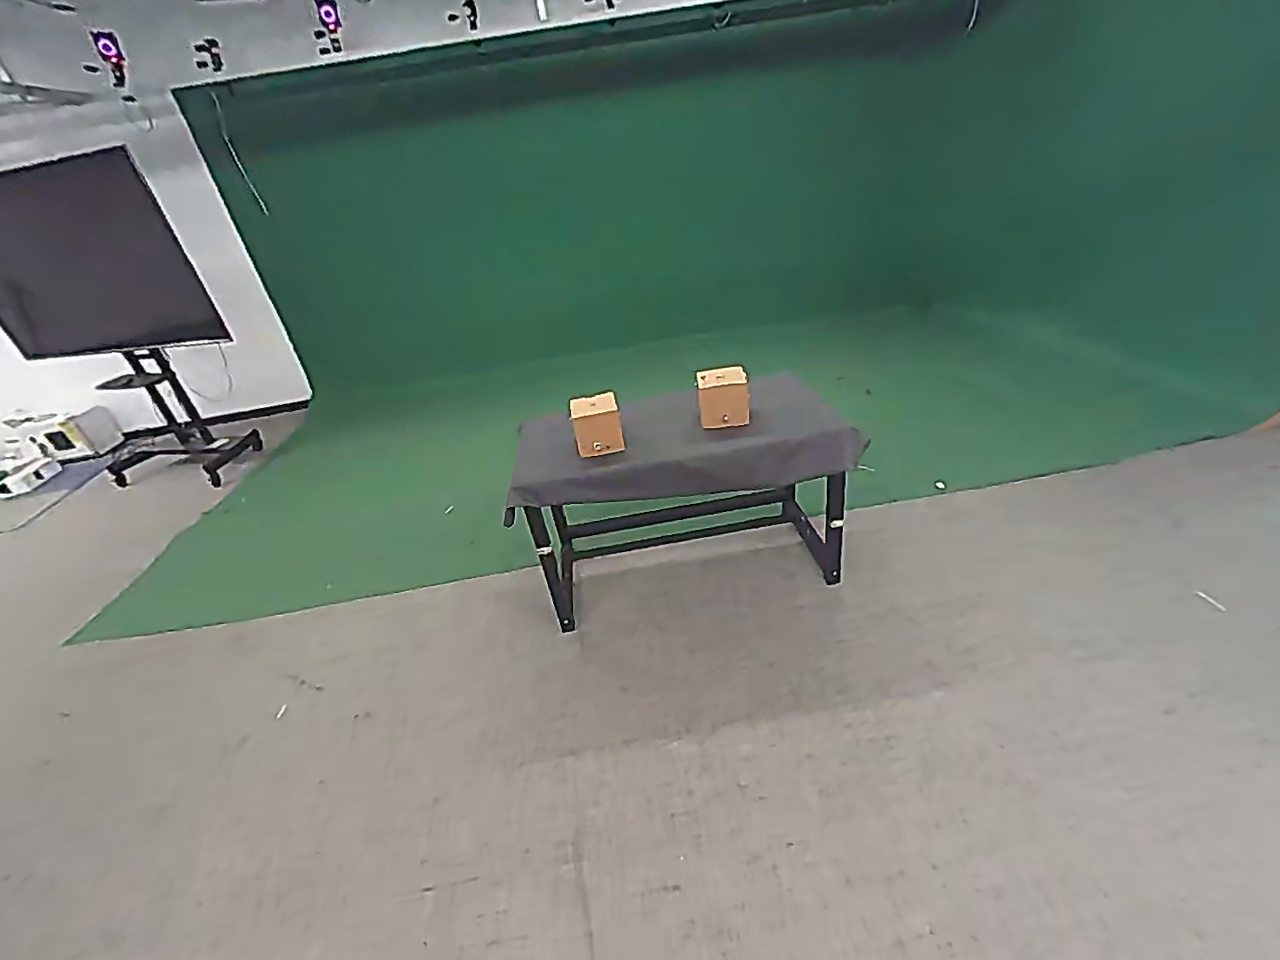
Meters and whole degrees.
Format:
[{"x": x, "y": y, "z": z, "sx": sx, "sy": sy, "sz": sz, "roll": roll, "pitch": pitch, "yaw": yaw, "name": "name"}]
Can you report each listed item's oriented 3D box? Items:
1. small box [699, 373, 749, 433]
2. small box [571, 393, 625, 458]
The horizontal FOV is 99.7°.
[{"x": 0.316, "y": -0.291, "z": 2.043, "sx": 0.179, "sy": 0.176, "sz": 0.168, "roll": -5, "pitch": 31, "yaw": 6, "name": "small box"}, {"x": -0.156, "y": -0.201, "z": 1.989, "sx": 0.168, "sy": 0.176, "sz": 0.179, "roll": -12, "pitch": 30, "yaw": -1, "name": "small box"}]
